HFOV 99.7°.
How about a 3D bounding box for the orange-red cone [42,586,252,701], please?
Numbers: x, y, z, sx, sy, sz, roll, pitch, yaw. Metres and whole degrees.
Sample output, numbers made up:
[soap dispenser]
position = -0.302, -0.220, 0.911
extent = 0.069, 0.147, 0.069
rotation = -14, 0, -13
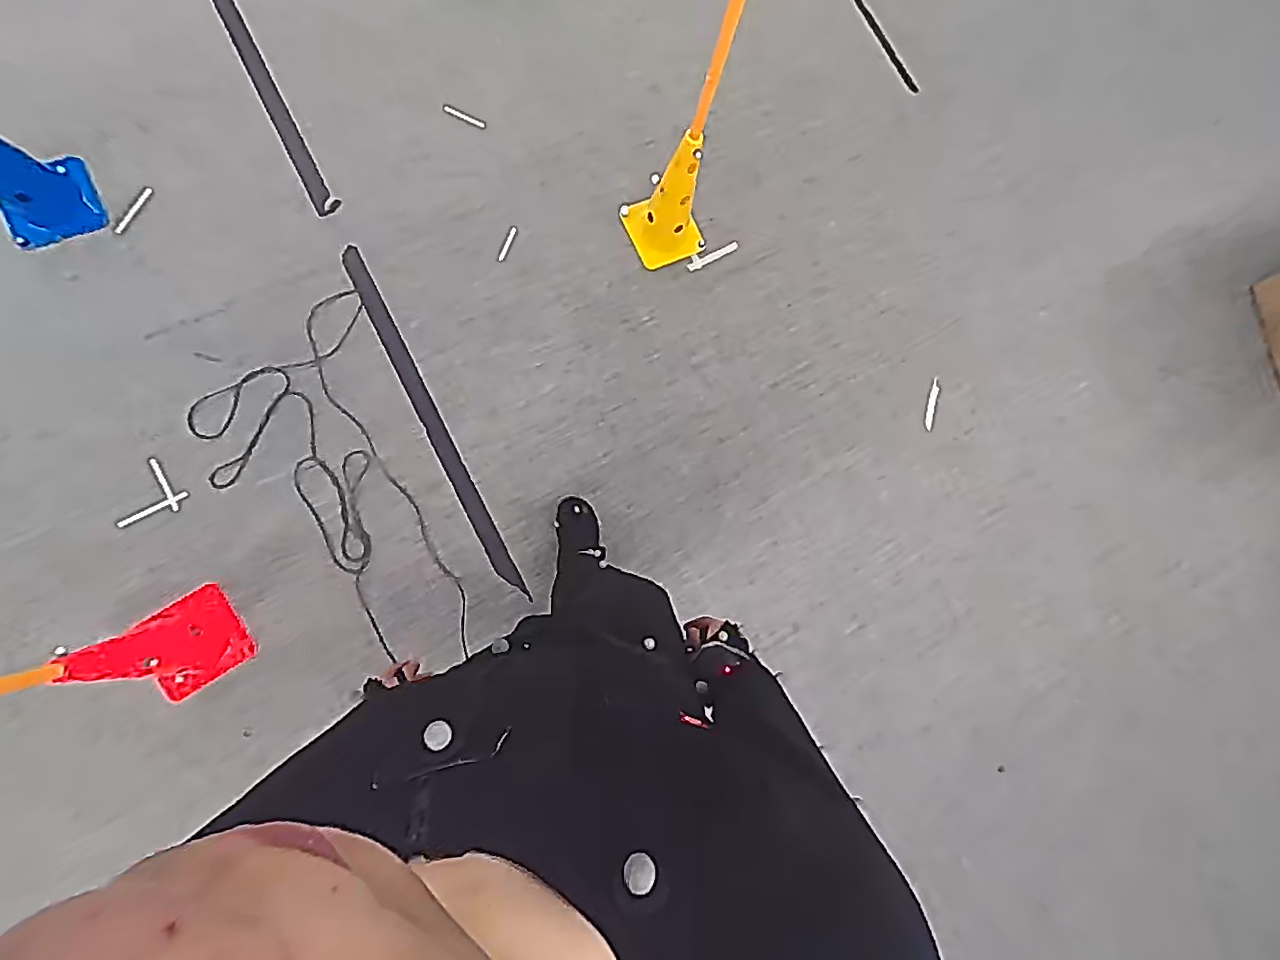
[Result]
[orange-red cone]
position = -0.971, 0.335, 1.039
extent = 0.199, 0.360, 0.198
rotation = -32, 88, -14

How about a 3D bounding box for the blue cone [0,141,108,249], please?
[blue cone]
position = -1.389, -0.689, 1.145
extent = 0.193, 0.380, 0.192
rotation = -24, 86, -12
